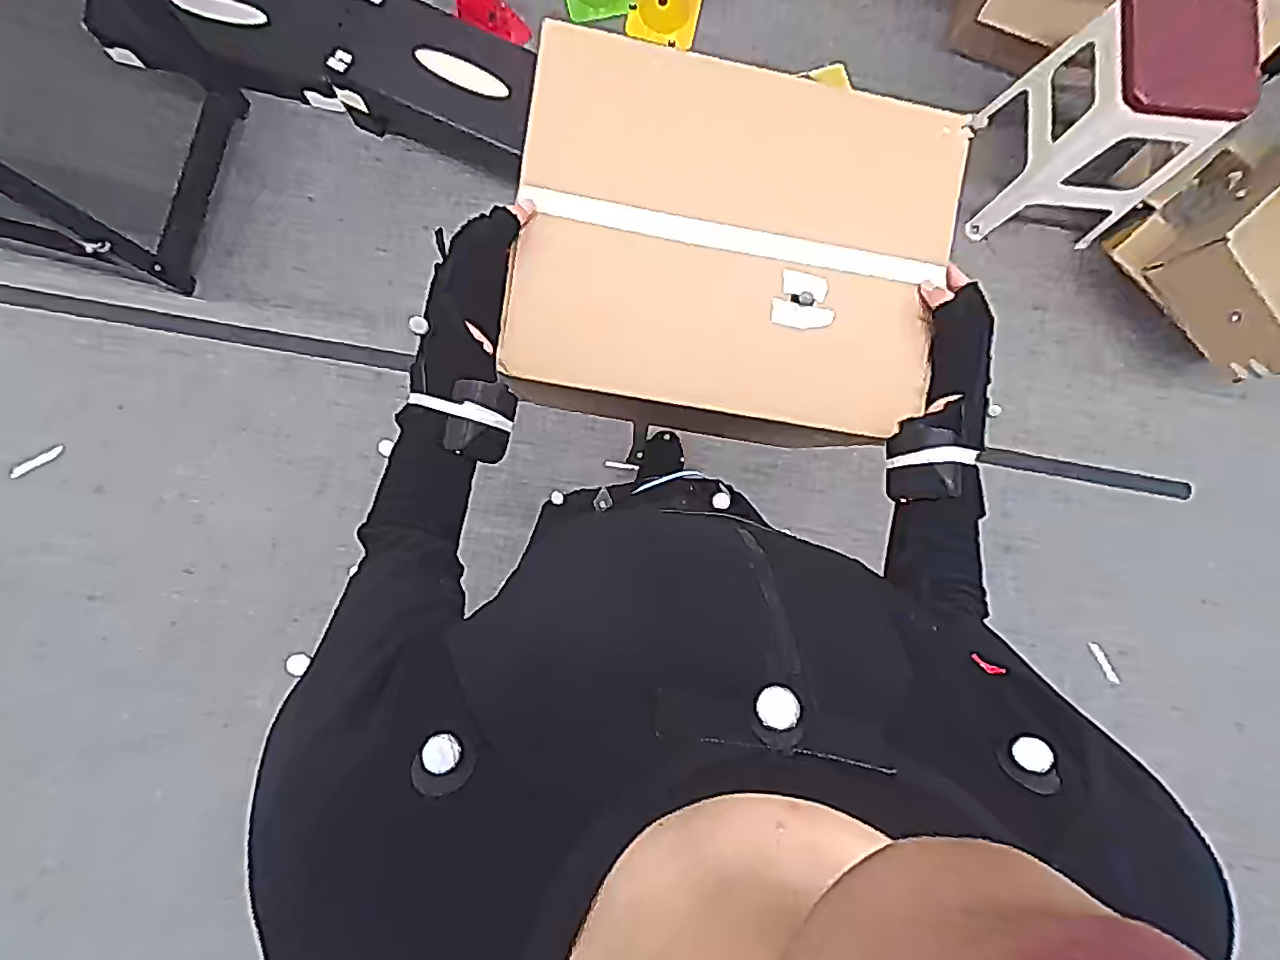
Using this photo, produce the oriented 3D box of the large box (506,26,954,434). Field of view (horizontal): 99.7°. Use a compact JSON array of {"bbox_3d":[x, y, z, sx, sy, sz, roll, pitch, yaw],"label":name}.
[{"bbox_3d":[0.074,-0.240,0.658,0.408,0.320,0.320,9,93,-6],"label":"large box"}]
